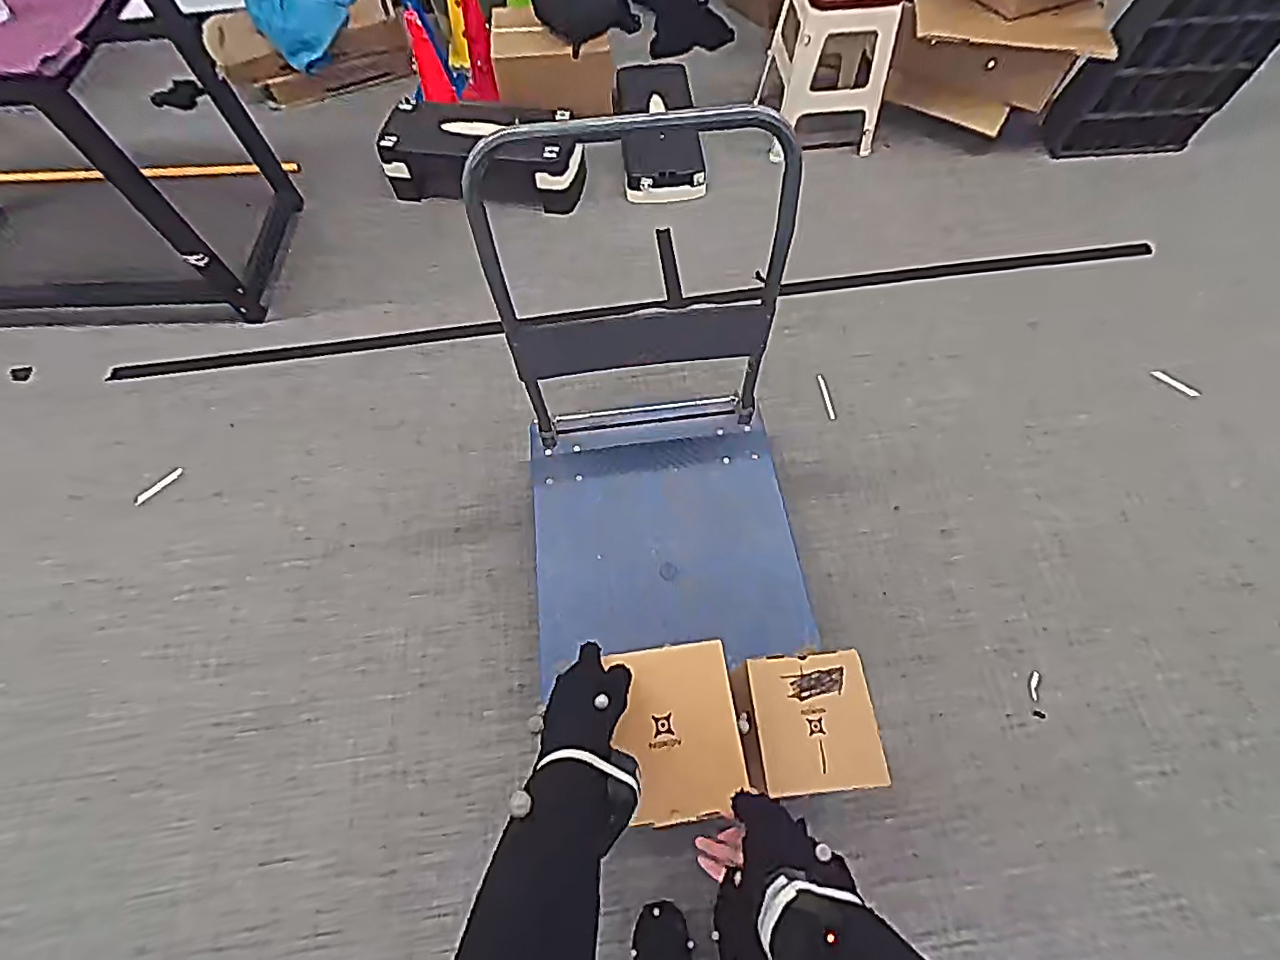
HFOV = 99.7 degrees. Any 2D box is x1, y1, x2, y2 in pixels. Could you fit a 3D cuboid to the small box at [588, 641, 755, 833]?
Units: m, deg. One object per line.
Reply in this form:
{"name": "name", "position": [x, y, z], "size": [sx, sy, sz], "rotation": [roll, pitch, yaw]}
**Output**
{"name": "small box", "position": [0.029, 0.311, 0.666], "size": [0.168, 0.176, 0.179], "rotation": [-8, 65, -3]}

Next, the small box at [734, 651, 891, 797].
{"name": "small box", "position": [0.244, 0.367, 0.817], "size": [0.168, 0.176, 0.179], "rotation": [-5, 65, -1]}
